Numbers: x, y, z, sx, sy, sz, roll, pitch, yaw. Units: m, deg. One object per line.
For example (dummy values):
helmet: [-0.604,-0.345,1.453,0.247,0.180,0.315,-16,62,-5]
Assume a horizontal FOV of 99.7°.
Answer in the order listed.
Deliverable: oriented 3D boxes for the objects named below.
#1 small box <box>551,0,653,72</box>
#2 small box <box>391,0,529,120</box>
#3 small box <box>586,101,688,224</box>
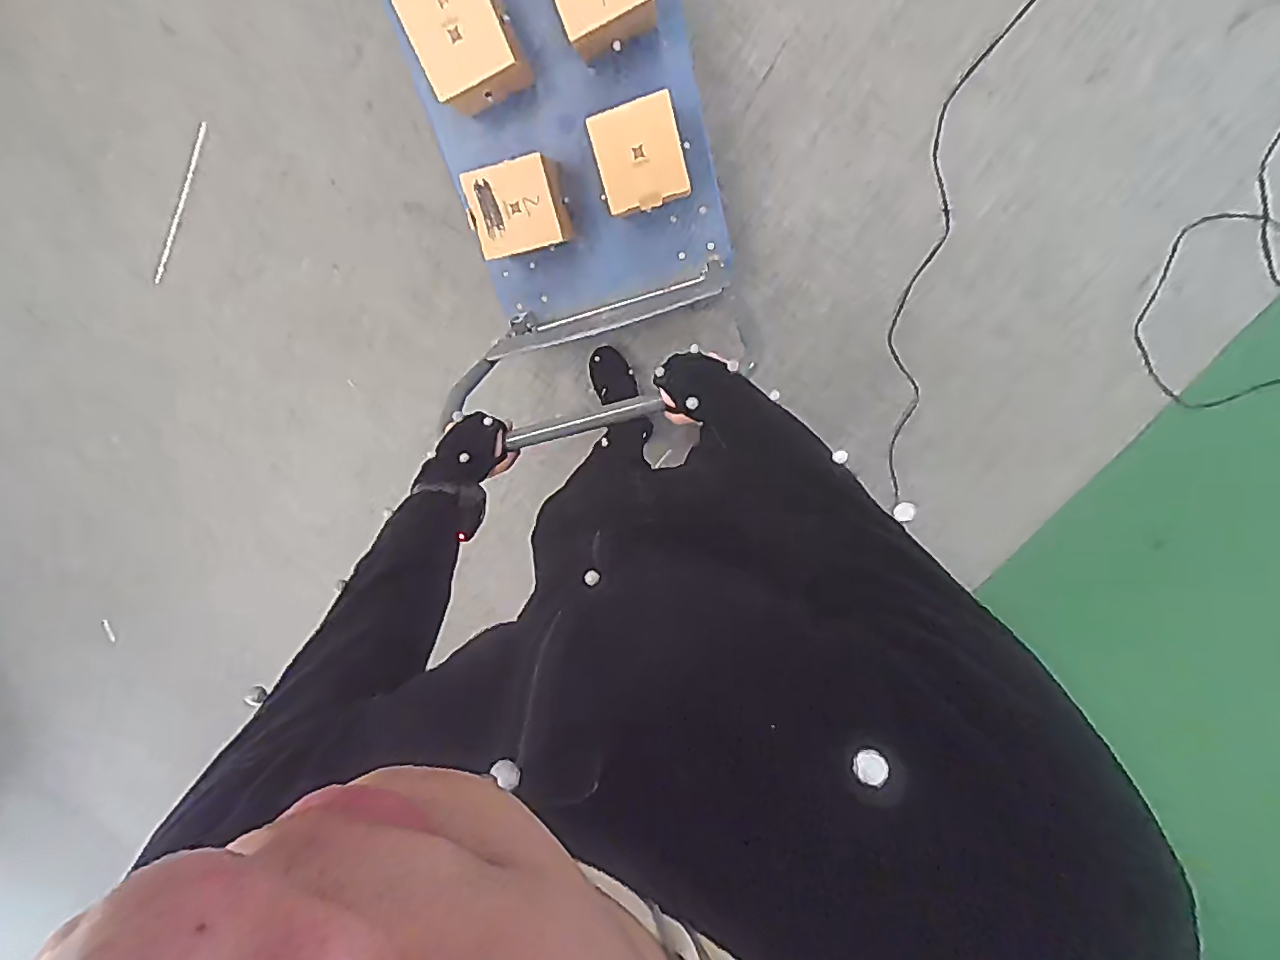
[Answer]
small box: [-0.080,-0.906,1.002,0.168,0.176,0.179,-18,114,11]
small box: [-0.335,-0.830,1.050,0.168,0.176,0.179,-19,113,10]
small box: [-0.002,-0.646,1.123,0.168,0.176,0.179,-14,115,9]
